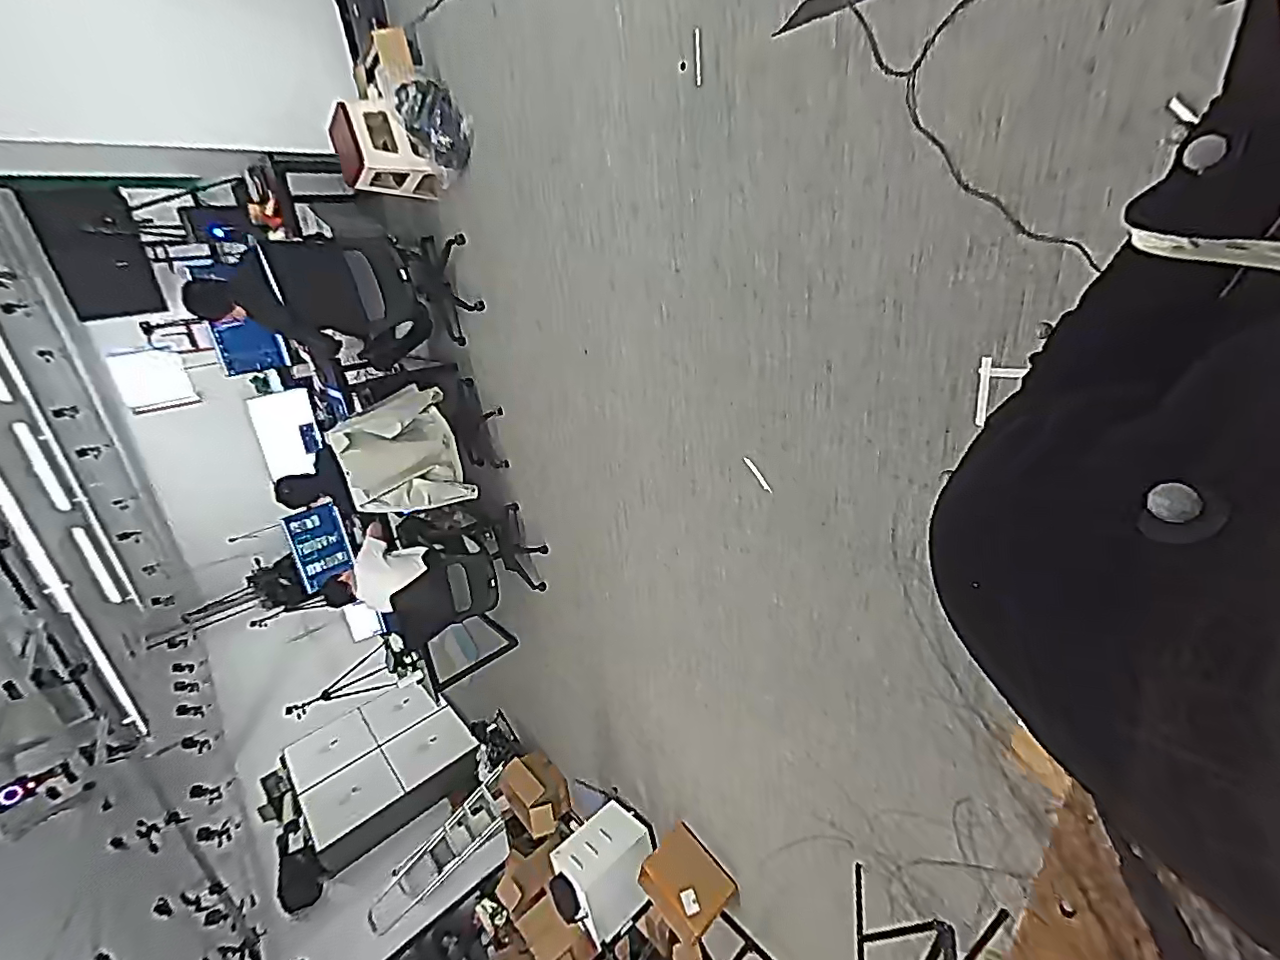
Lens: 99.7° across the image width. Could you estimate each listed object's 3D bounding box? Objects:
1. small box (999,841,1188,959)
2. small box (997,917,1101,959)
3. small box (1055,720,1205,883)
[{"bbox_3d":[0.708,0.716,0.851,0.179,0.176,0.168,23,125,43],"label":"small box"},{"bbox_3d":[0.589,0.769,0.755,0.179,0.176,0.168,23,125,43],"label":"small box"},{"bbox_3d":[0.948,0.608,1.048,0.179,0.176,0.168,19,122,46],"label":"small box"}]
